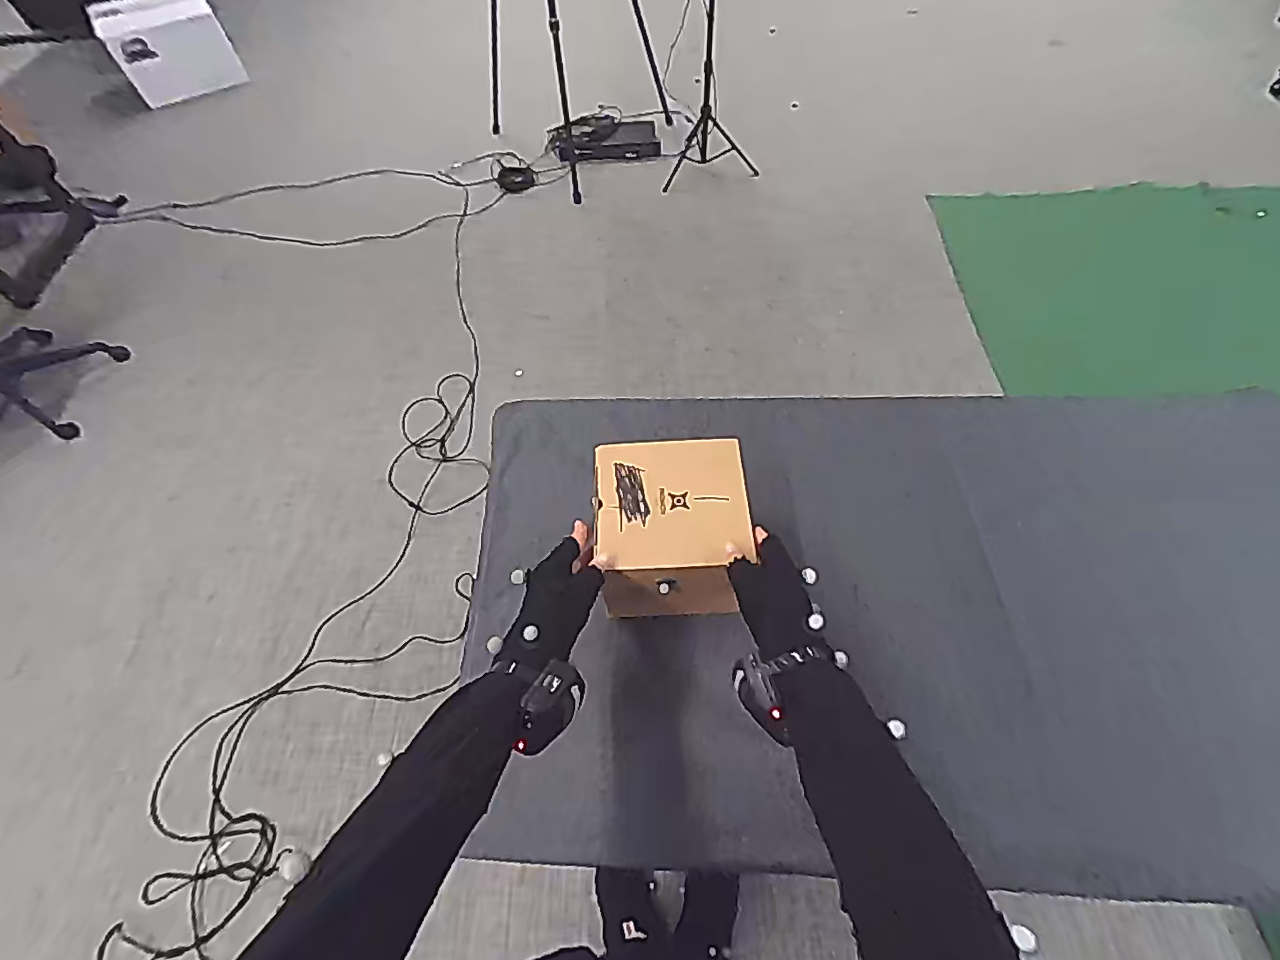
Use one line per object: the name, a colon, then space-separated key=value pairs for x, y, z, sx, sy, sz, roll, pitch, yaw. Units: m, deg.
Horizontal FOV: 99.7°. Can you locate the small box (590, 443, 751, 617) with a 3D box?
small box: x=0.035 y=0.070 z=0.685 sx=0.179 sy=0.176 sz=0.168 roll=-3 pitch=59 yaw=0
